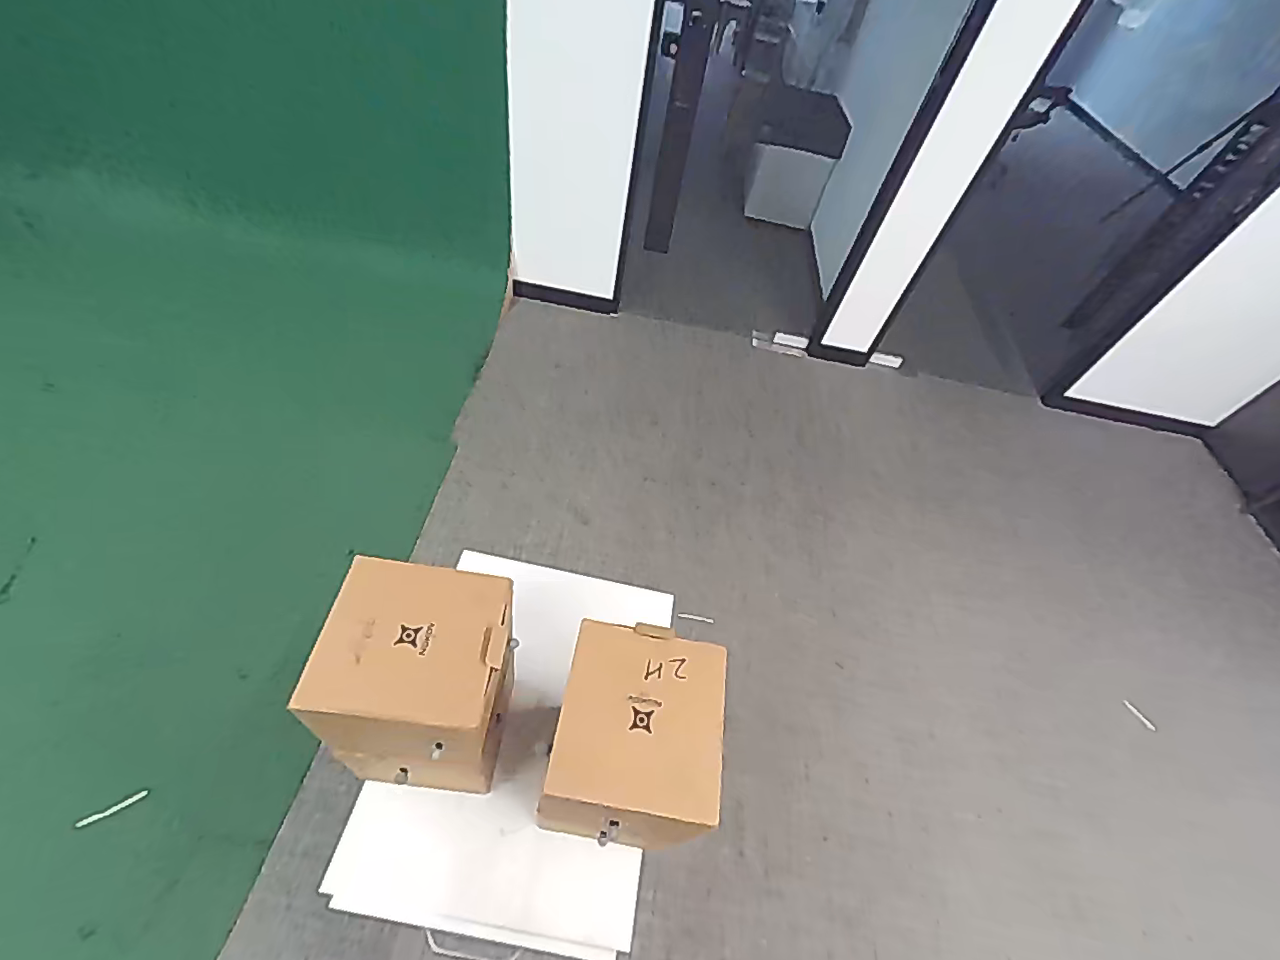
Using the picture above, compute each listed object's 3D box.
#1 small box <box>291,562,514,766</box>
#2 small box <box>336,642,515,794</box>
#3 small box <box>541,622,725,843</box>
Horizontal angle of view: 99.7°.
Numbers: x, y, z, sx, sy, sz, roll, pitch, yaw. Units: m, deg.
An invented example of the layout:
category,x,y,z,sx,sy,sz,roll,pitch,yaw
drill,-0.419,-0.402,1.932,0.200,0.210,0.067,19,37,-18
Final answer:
category,x,y,z,sx,sy,sz,roll,pitch,yaw
small box,-0.247,0.216,0.617,0.179,0.176,0.168,9,50,-6
small box,-0.277,0.318,0.741,0.179,0.176,0.168,11,51,-6
small box,-0.009,0.289,0.608,0.168,0.176,0.179,12,50,-2
